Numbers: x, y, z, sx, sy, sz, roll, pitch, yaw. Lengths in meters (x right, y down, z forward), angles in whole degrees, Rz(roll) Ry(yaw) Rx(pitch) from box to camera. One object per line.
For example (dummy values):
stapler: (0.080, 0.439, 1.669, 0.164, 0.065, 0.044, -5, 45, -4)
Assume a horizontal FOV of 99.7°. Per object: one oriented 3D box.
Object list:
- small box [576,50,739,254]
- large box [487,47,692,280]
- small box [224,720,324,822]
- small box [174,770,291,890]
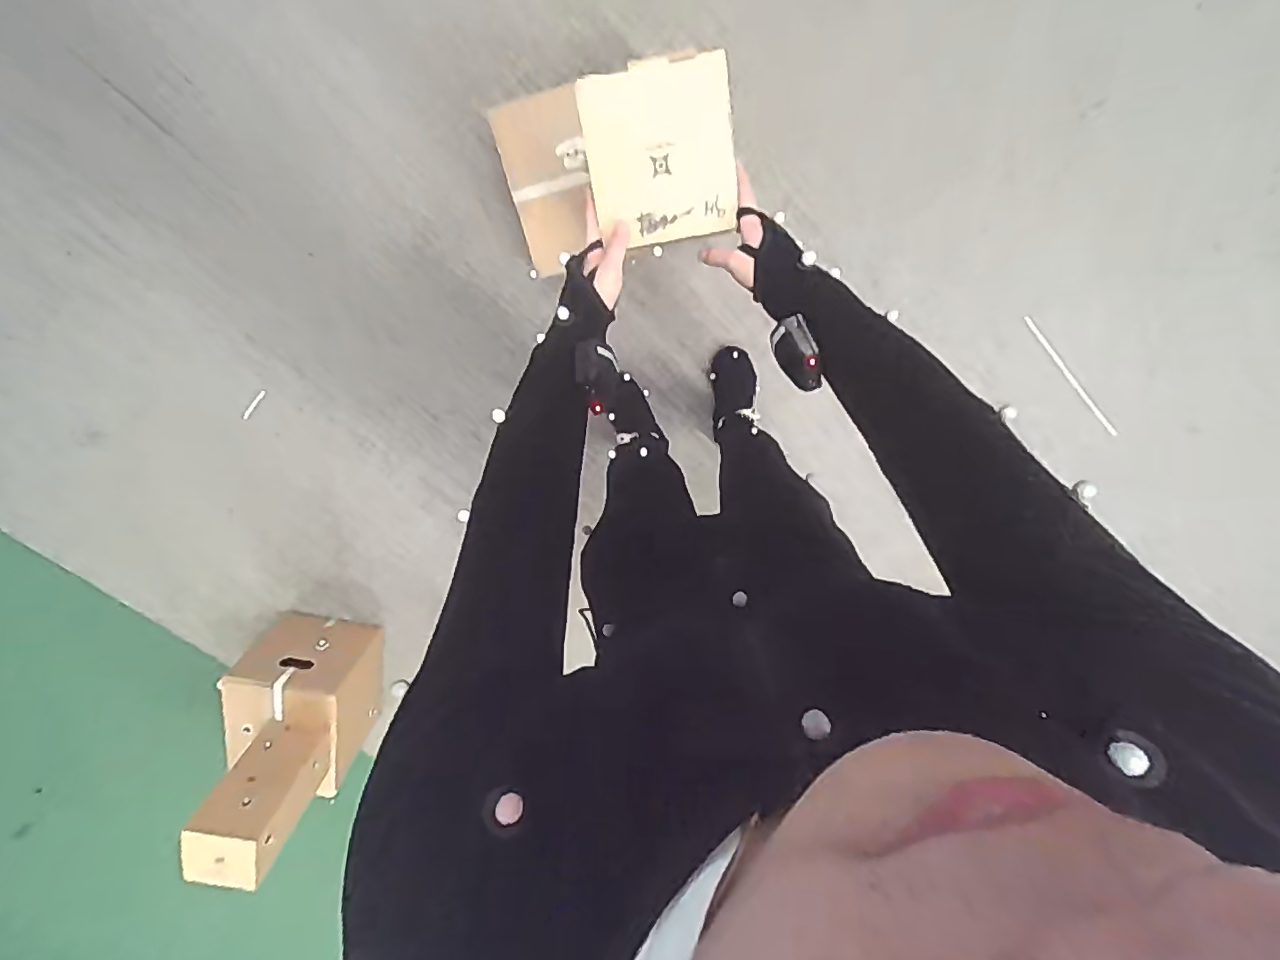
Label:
small box: (0.023, -0.387, 0.672, 0.168, 0.176, 0.179, -8, 112, 4)
large box: (-0.058, -0.652, 1.180, 0.408, 0.320, 0.320, -13, 110, 5)
small box: (-0.983, 0.782, 1.465, 0.168, 0.176, 0.179, 12, 111, -6)
small box: (-0.980, 0.843, 1.312, 0.168, 0.176, 0.179, 14, 111, -5)
